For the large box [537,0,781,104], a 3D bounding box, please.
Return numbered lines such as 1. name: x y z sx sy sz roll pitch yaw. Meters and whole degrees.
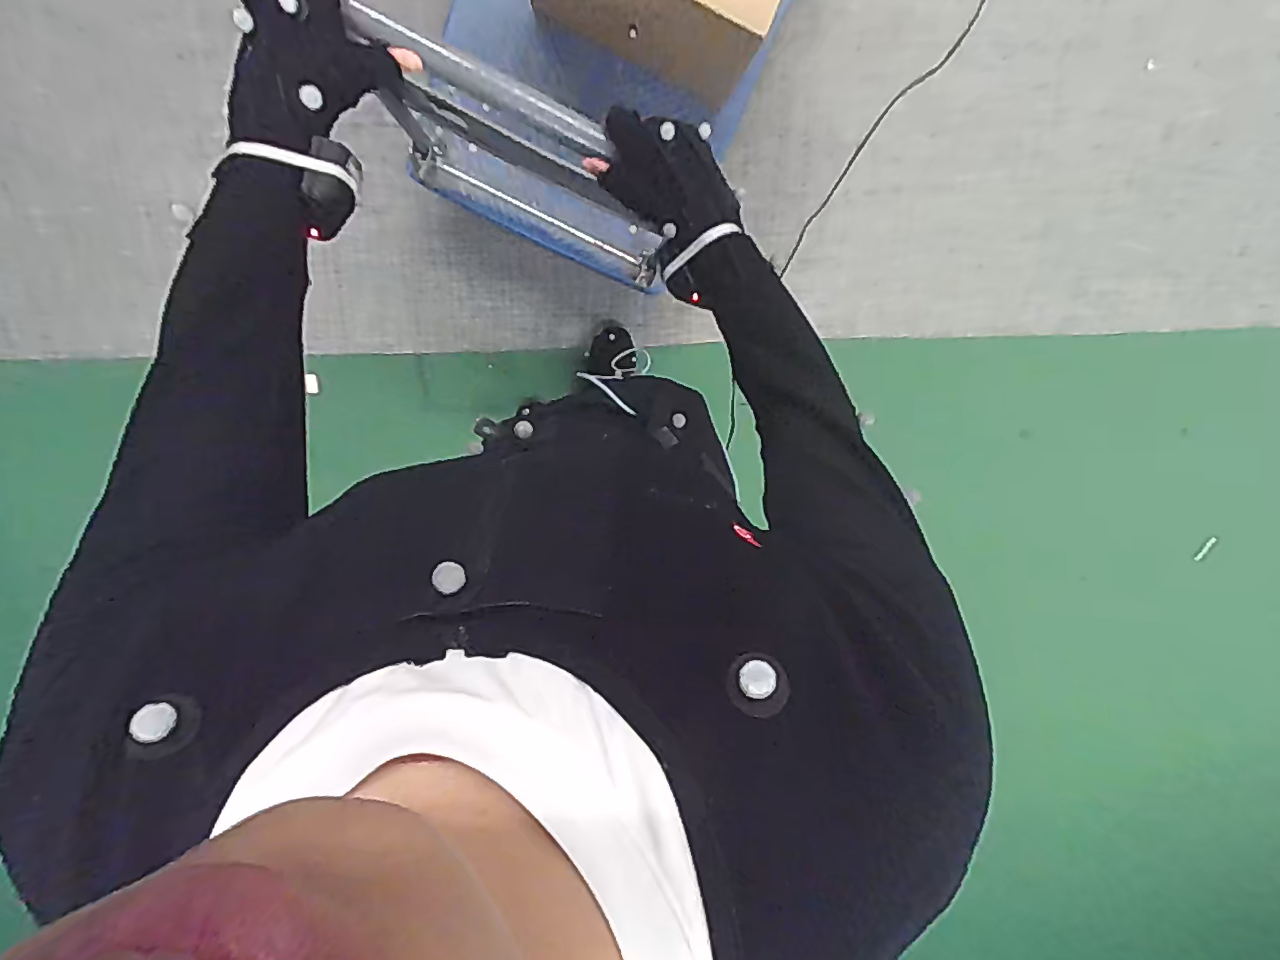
1. large box: 0.054 -0.905 0.877 0.408 0.320 0.320 21 105 -9
